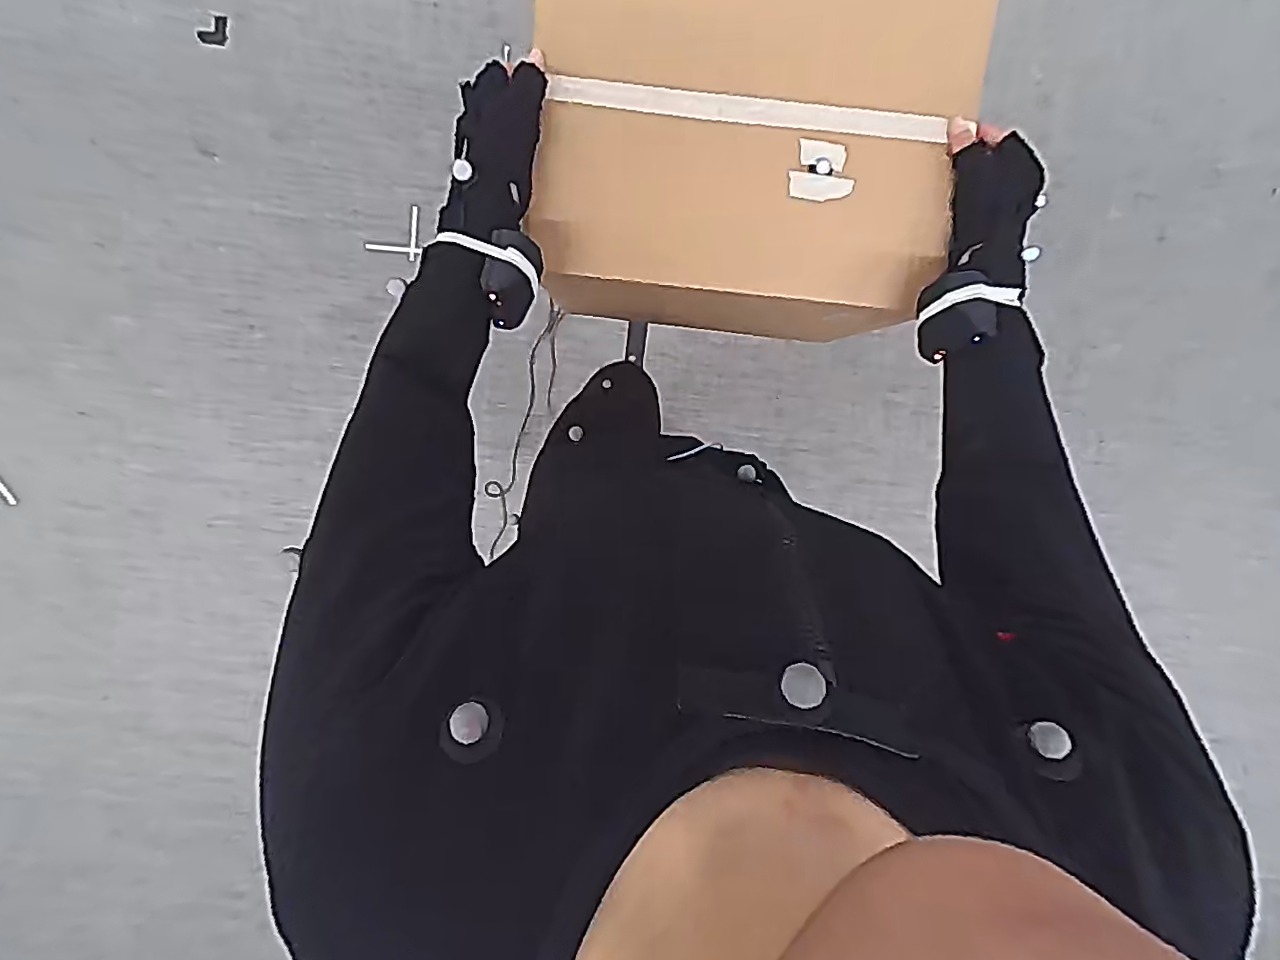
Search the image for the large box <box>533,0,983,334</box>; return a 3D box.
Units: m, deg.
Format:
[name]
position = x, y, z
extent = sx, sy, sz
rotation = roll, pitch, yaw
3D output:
[large box]
position = 0.100, -0.363, 0.650
extent = 0.408, 0.320, 0.320
rotation = 5, 100, -2
